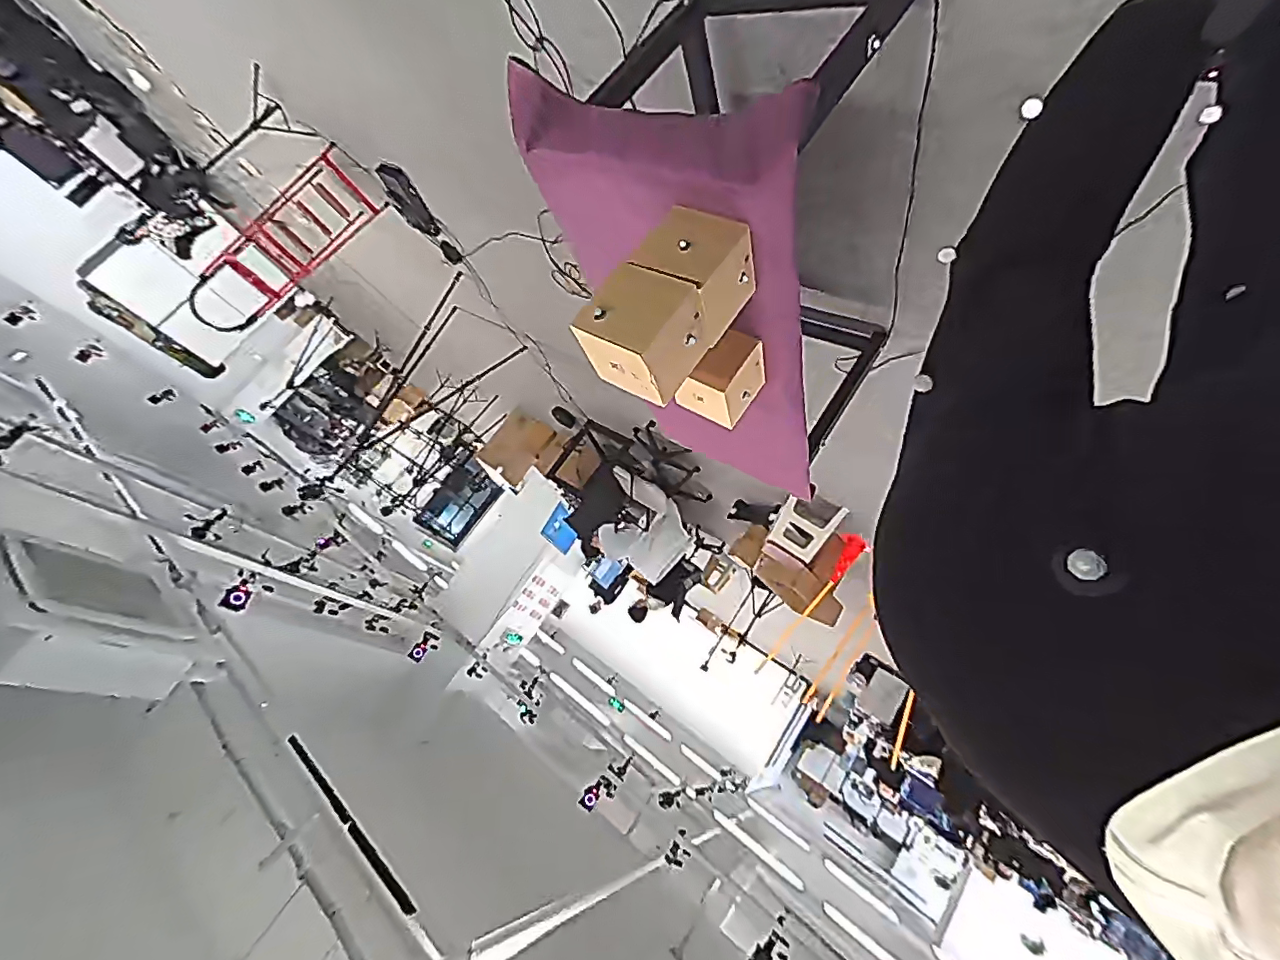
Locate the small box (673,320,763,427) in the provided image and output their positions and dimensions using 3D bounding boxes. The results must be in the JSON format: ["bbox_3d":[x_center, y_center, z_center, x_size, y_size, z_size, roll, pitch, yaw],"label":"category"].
[{"bbox_3d":[0.193,-0.268,1.345,0.179,0.176,0.168,31,166,27],"label":"small box"}]

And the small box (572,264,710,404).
[{"bbox_3d":[0.008,-0.281,1.028,0.179,0.176,0.168,29,167,28],"label":"small box"}]
